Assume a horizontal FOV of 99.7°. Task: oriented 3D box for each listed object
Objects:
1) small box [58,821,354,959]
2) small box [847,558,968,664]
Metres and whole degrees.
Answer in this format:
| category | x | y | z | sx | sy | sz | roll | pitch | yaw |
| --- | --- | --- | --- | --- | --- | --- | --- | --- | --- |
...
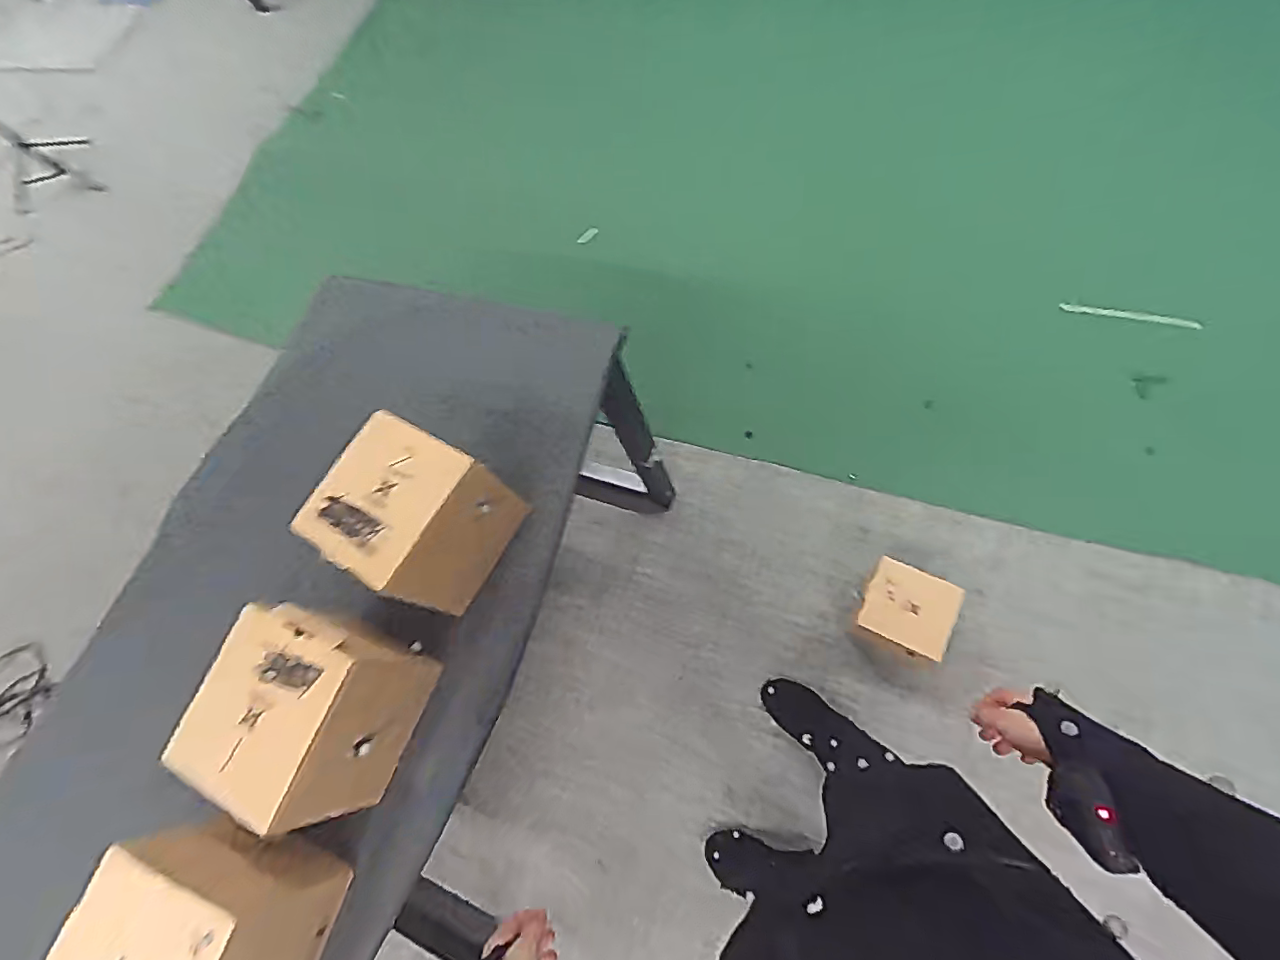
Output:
| category | x | y | z | sx | sy | sz | roll | pitch | yaw |
| --- | --- | --- | --- | --- | --- | --- | --- | --- | --- |
| small box | -0.451 | 0.486 | 0.565 | 0.179 | 0.176 | 0.168 | 14 | 73 | 17 |
| small box | 0.589 | 0.296 | 1.212 | 0.179 | 0.176 | 0.168 | 24 | 76 | 19 |
